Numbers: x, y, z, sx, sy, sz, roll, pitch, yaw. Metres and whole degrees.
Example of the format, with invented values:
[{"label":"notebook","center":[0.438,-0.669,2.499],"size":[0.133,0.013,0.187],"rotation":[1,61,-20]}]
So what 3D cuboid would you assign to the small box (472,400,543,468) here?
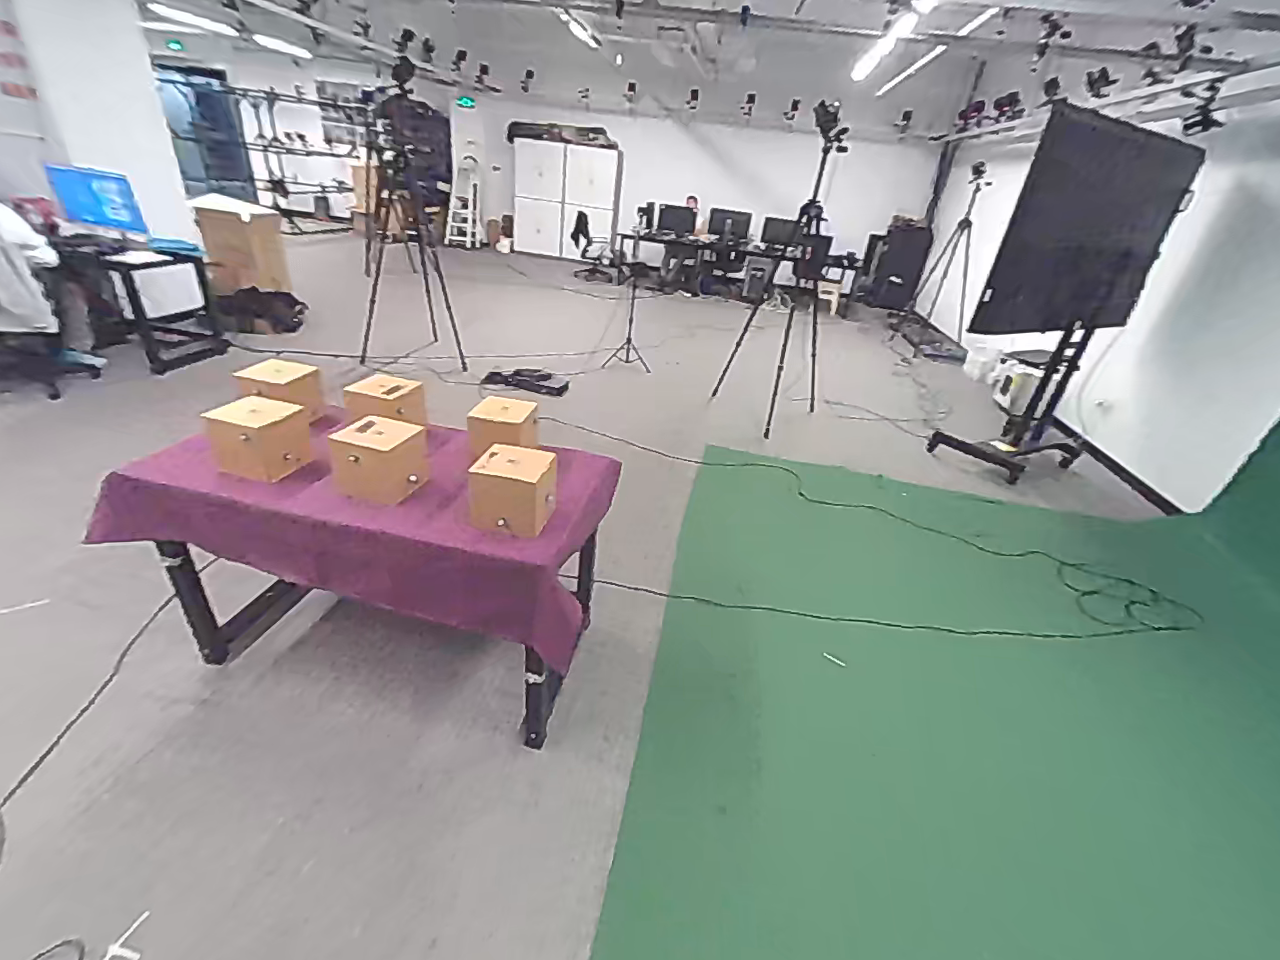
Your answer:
[{"label":"small box","center":[-0.412,-0.133,1.691],"size":[0.168,0.176,0.179],"rotation":[9,30,5]}]

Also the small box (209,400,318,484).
[{"label":"small box","center":[-1.039,-0.105,1.506],"size":[0.179,0.176,0.168],"rotation":[13,29,8]}]

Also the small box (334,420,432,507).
[{"label":"small box","center":[-0.693,-0.045,1.474],"size":[0.179,0.176,0.168],"rotation":[13,30,10]}]

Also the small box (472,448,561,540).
[{"label":"small box","center":[-0.317,0.038,1.406],"size":[0.179,0.176,0.168],"rotation":[11,29,6]}]
